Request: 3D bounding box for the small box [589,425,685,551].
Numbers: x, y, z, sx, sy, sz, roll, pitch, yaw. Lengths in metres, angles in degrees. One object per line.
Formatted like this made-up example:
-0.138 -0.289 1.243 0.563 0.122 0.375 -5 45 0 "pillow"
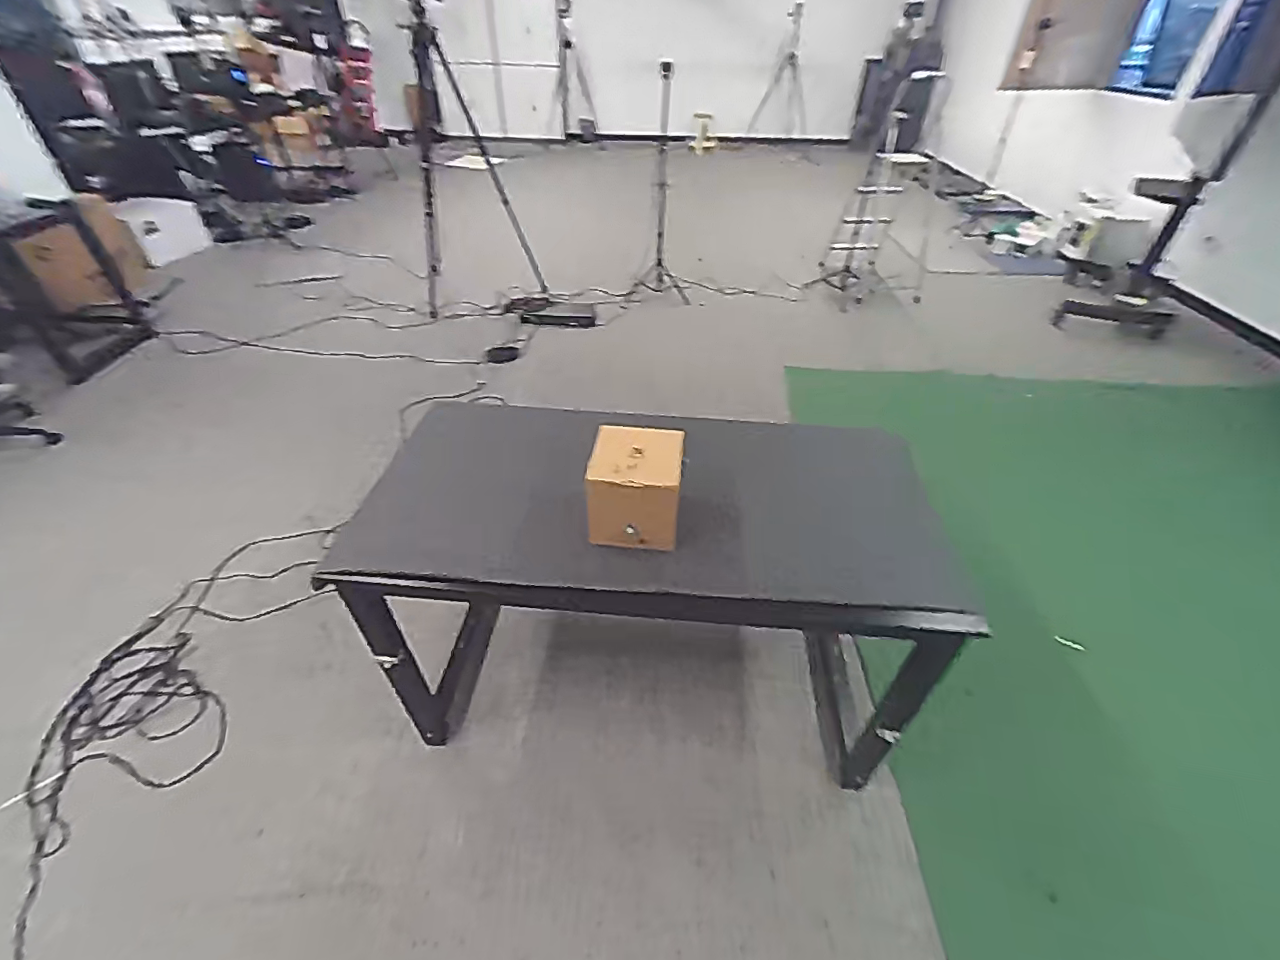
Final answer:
-0.003 0.013 1.061 0.168 0.176 0.179 5 39 5 "small box"
